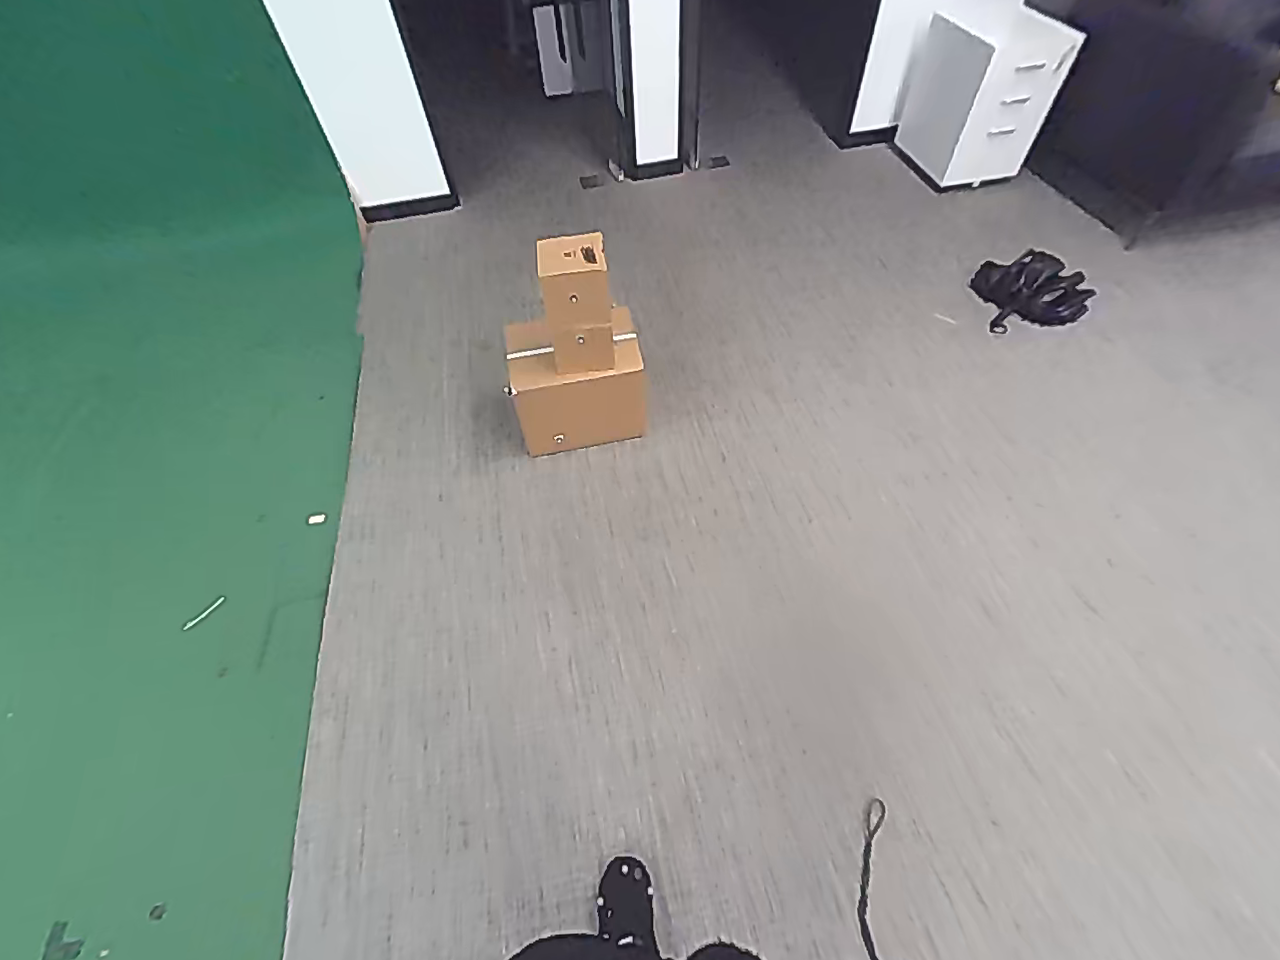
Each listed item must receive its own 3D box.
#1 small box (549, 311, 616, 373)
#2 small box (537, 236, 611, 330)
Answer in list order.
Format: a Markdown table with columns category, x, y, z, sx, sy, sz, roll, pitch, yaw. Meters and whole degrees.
| category | x | y | z | sx | sy | sz | roll | pitch | yaw |
| --- | --- | --- | --- | --- | --- | --- | --- | --- | --- |
| small box | -0.168 | -0.430 | 1.587 | 0.179 | 0.176 | 0.168 | -6 | 56 | -2 |
| small box | -0.174 | -0.526 | 1.454 | 0.179 | 0.176 | 0.168 | -8 | 56 | -1 |
